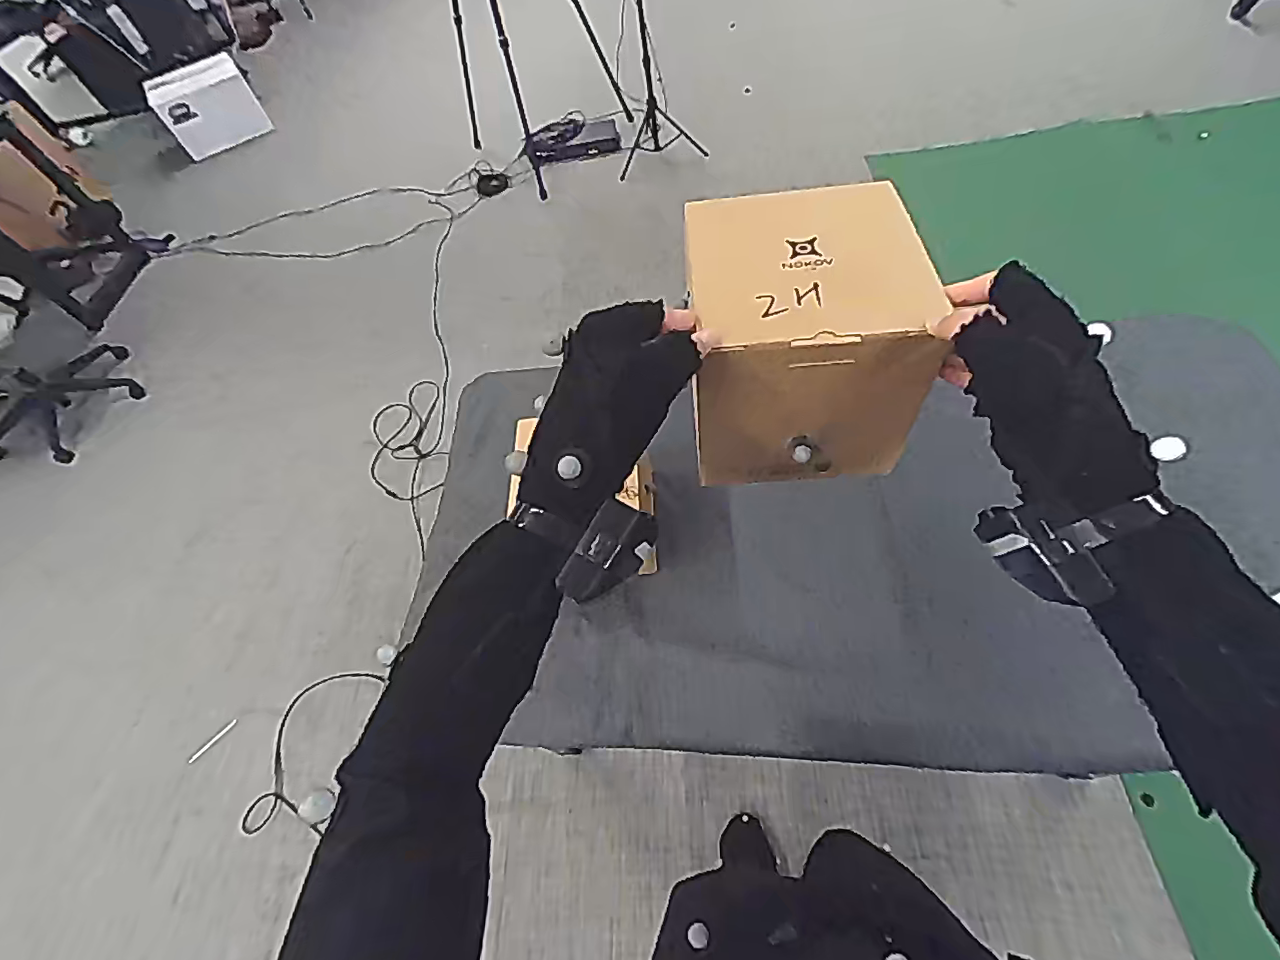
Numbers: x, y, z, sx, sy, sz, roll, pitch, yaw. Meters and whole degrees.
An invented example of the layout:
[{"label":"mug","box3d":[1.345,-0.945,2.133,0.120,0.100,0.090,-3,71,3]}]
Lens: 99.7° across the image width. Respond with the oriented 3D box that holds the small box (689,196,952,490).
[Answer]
[{"label":"small box","box3d":[0.127,-0.110,0.463,0.168,0.176,0.179,-3,56,6]}]
